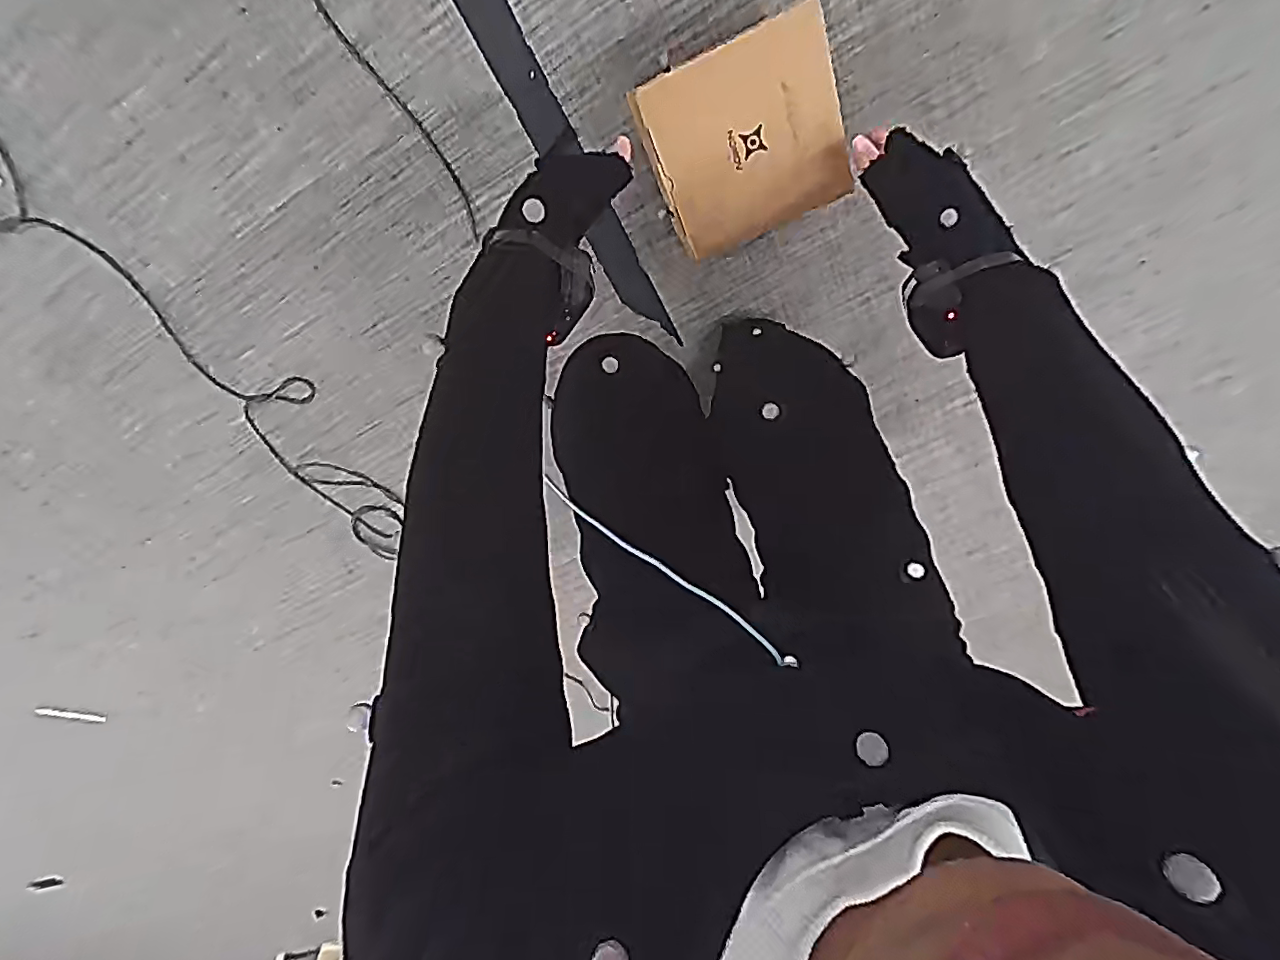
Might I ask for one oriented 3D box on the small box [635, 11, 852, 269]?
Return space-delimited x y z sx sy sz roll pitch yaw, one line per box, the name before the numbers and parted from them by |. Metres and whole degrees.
small box | 0.103 -0.359 0.588 0.179 0.176 0.168 -21 124 11
